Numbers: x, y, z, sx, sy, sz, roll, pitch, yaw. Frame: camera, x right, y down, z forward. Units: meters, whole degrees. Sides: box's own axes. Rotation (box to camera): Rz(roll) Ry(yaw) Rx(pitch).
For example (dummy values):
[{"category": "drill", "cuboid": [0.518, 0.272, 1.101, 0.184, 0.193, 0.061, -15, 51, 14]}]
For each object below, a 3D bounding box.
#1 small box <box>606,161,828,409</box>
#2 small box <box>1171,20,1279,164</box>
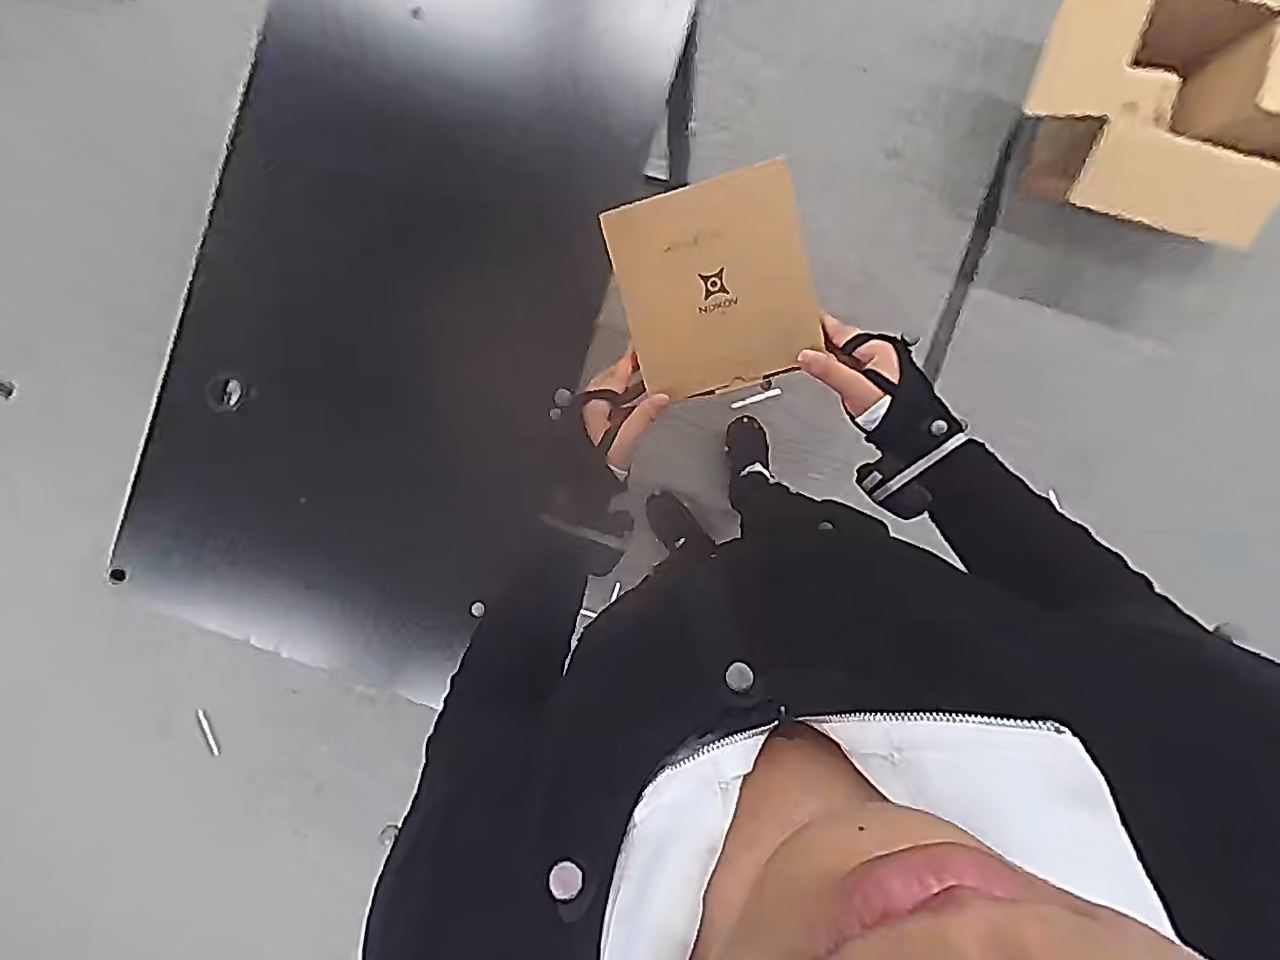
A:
[{"category": "small box", "cuboid": [0.074, -0.181, 0.550, 0.168, 0.176, 0.179, -14, 100, 6]}, {"category": "small box", "cuboid": [1.298, -0.811, 1.149, 0.168, 0.176, 0.179, 12, 92, -1]}]
